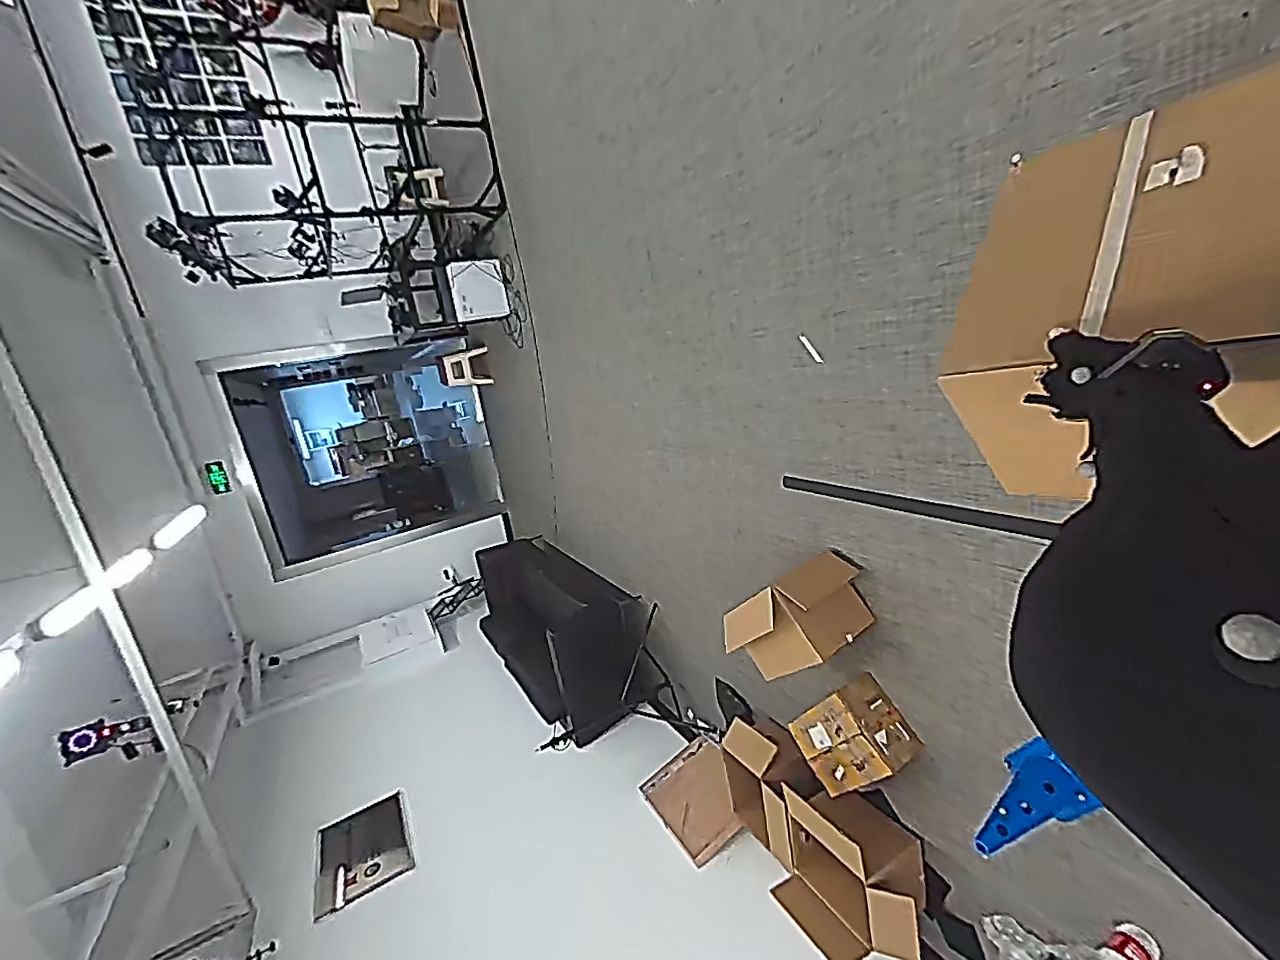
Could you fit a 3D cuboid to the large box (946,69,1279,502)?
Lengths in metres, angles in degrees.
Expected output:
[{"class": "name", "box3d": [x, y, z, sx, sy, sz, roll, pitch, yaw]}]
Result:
[{"class": "large box", "box3d": [0.672, -0.217, 0.720, 0.320, 0.408, 0.320, 38, 160, -32]}]
